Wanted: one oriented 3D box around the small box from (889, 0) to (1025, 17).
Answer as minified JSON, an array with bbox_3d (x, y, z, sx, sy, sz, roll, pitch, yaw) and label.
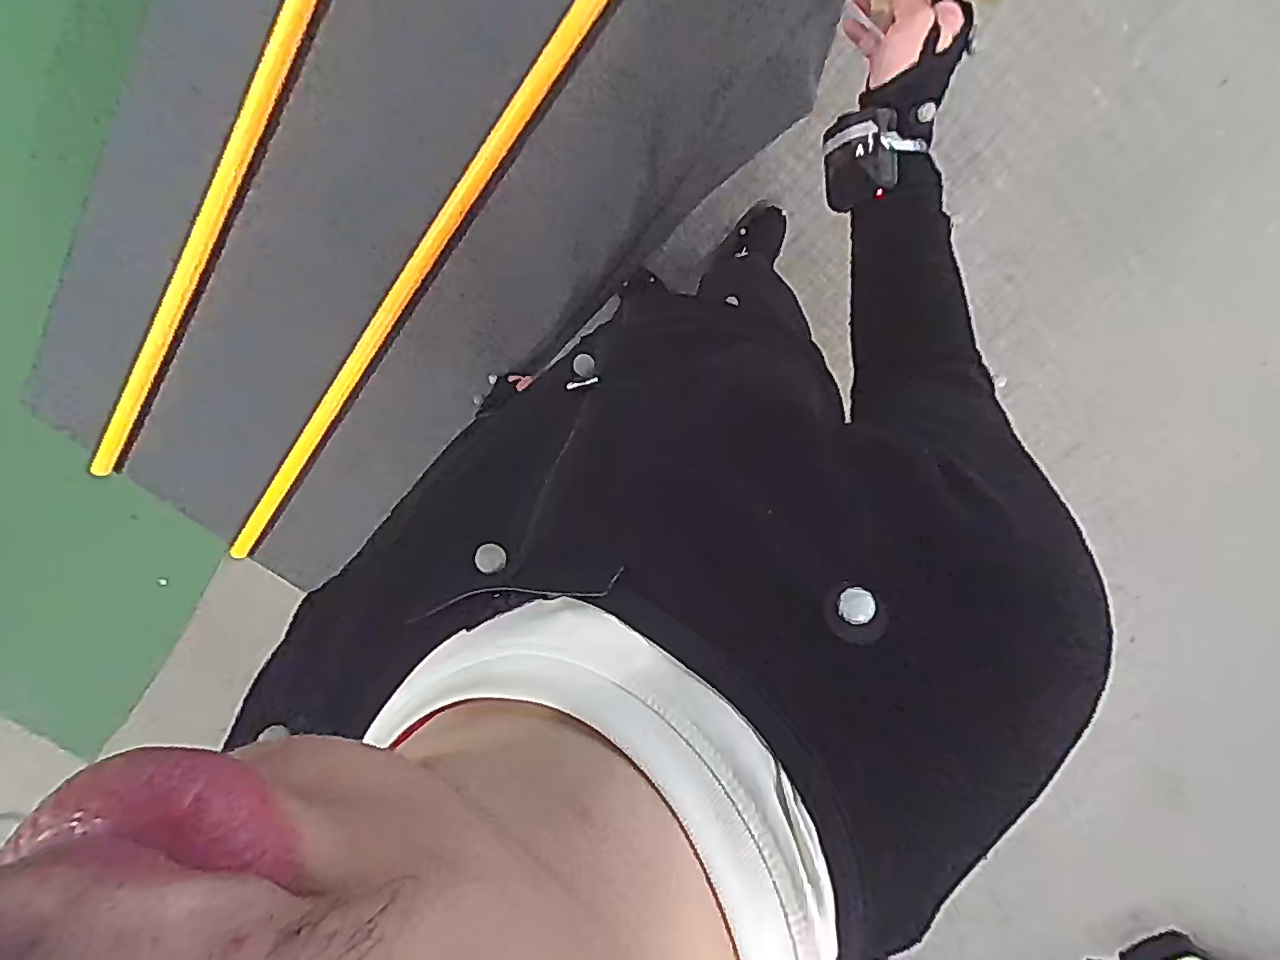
[{"bbox_3d":[0.266,-0.494,0.425,0.168,0.176,0.179,22,128,14],"label":"small box"}]
